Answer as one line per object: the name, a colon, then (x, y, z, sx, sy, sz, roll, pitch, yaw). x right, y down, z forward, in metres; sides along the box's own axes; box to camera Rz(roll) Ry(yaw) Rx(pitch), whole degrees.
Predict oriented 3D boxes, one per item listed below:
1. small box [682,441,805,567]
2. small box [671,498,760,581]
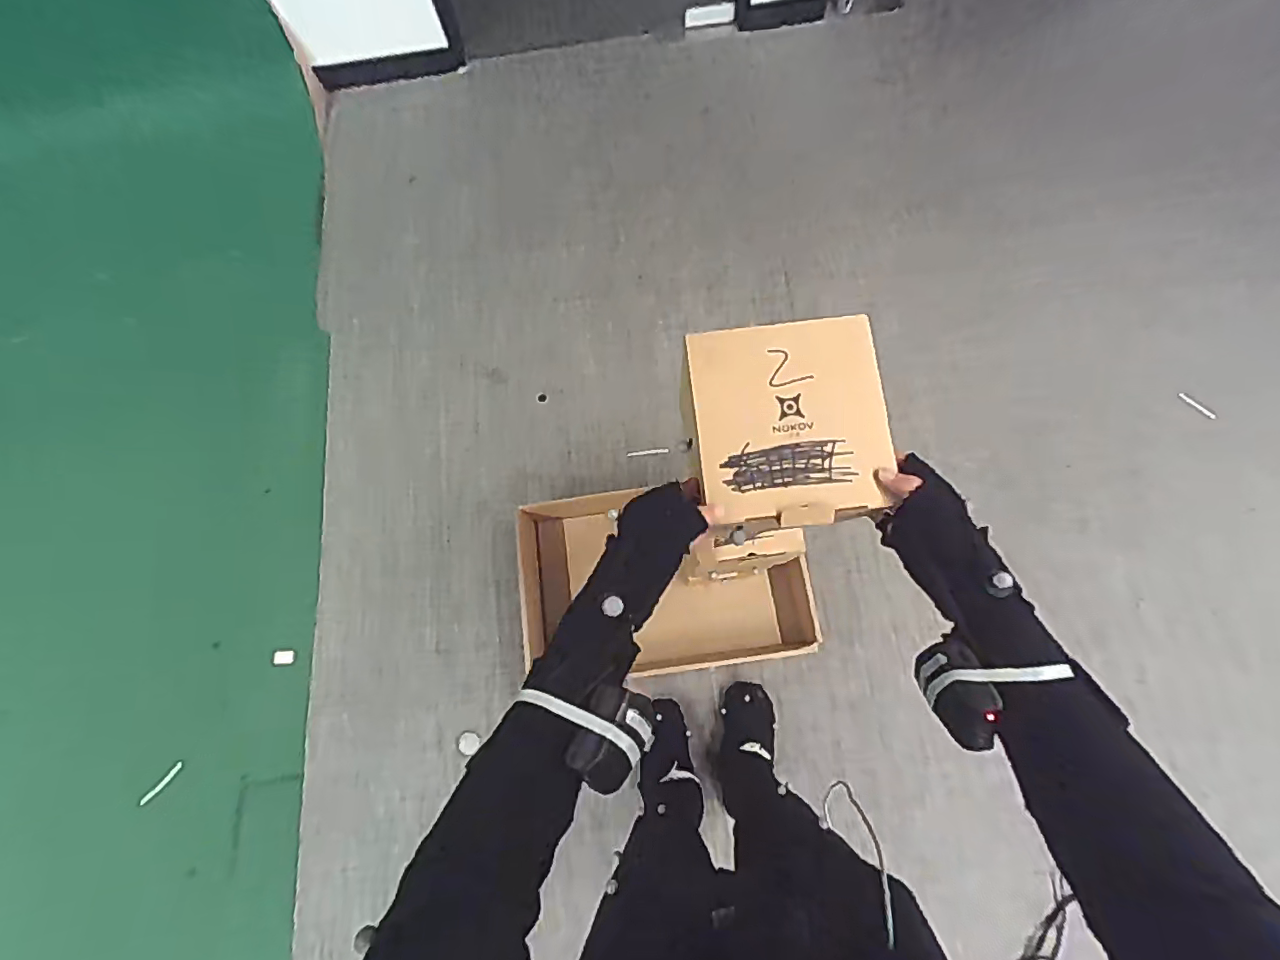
small box: (0.163, 0.049, 0.908, 0.168, 0.176, 0.179, -7, 75, 1)
small box: (0.170, 0.129, 1.227, 0.168, 0.176, 0.179, -13, 74, 2)
